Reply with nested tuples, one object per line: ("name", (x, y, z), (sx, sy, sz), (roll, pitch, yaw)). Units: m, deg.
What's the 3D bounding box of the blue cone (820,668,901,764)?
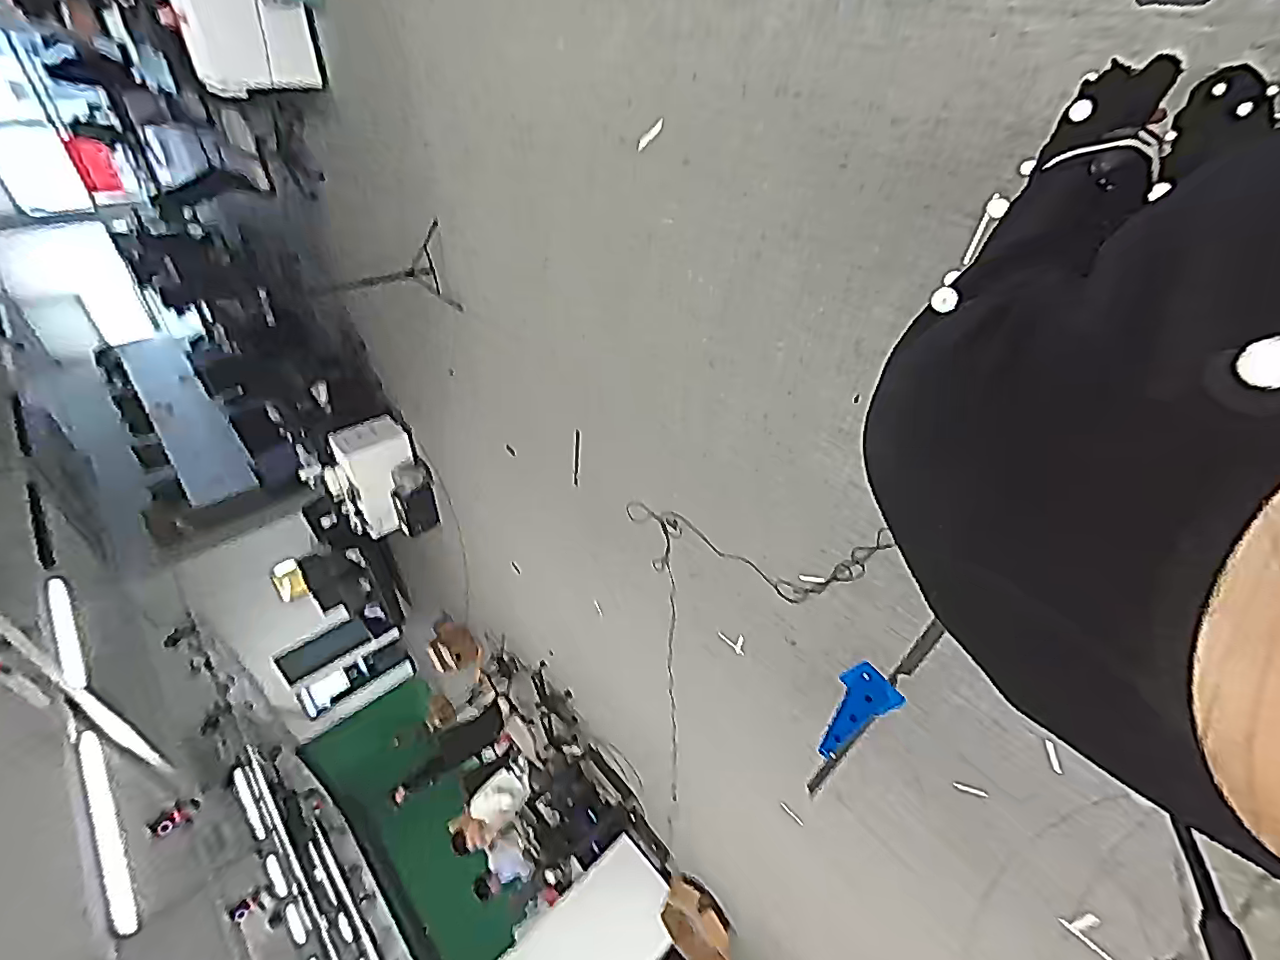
("blue cone", (0.762, 0.881, 1.976), (0.192, 0.380, 0.193), (47, 143, 17))
